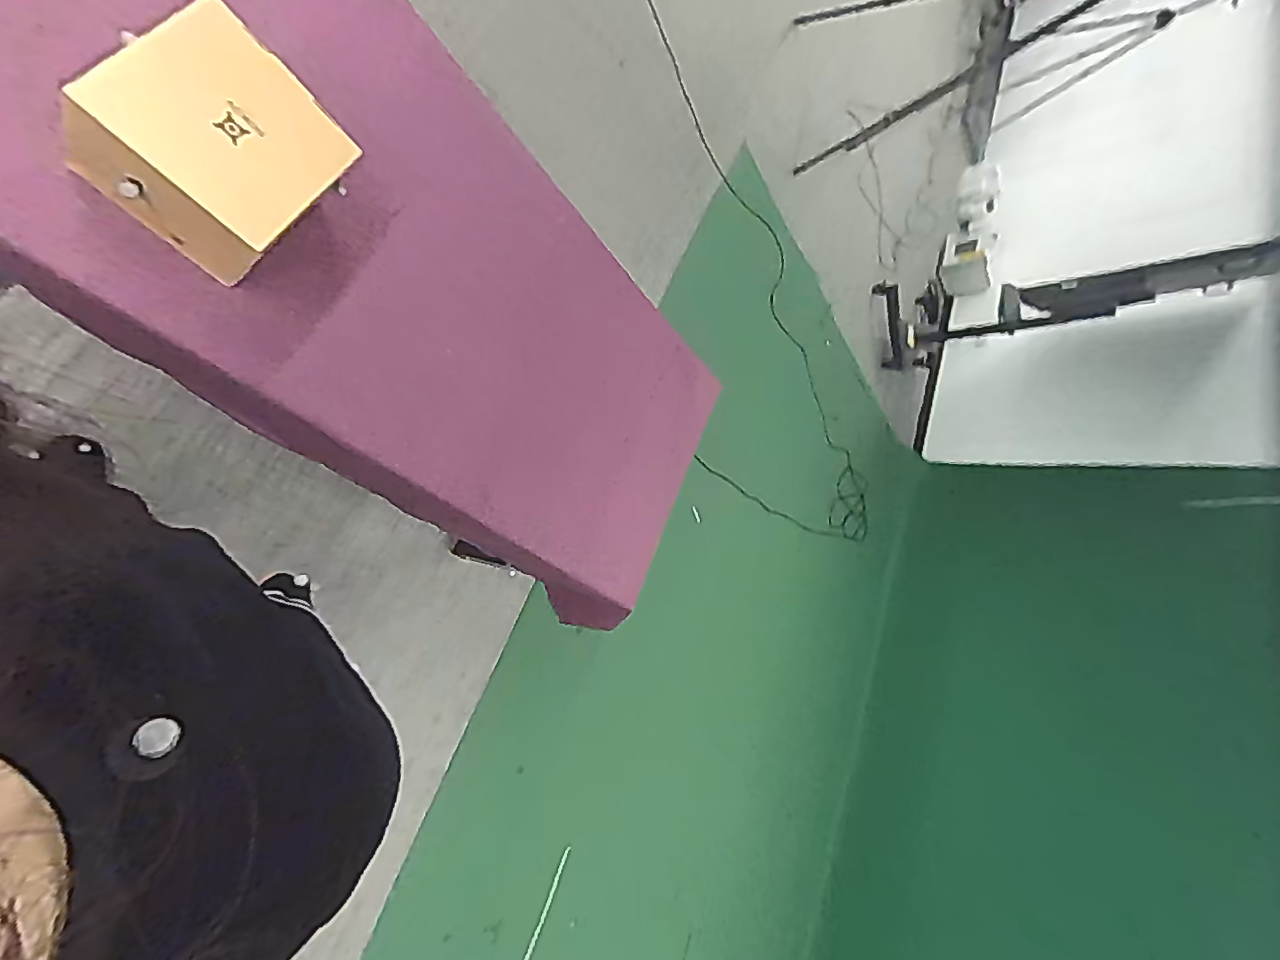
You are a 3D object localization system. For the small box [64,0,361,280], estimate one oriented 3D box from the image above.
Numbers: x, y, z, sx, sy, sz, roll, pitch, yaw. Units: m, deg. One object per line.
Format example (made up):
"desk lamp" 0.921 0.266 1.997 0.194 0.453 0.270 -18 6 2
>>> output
"small box" -0.446 -0.345 0.578 0.168 0.176 0.179 45 60 -37
